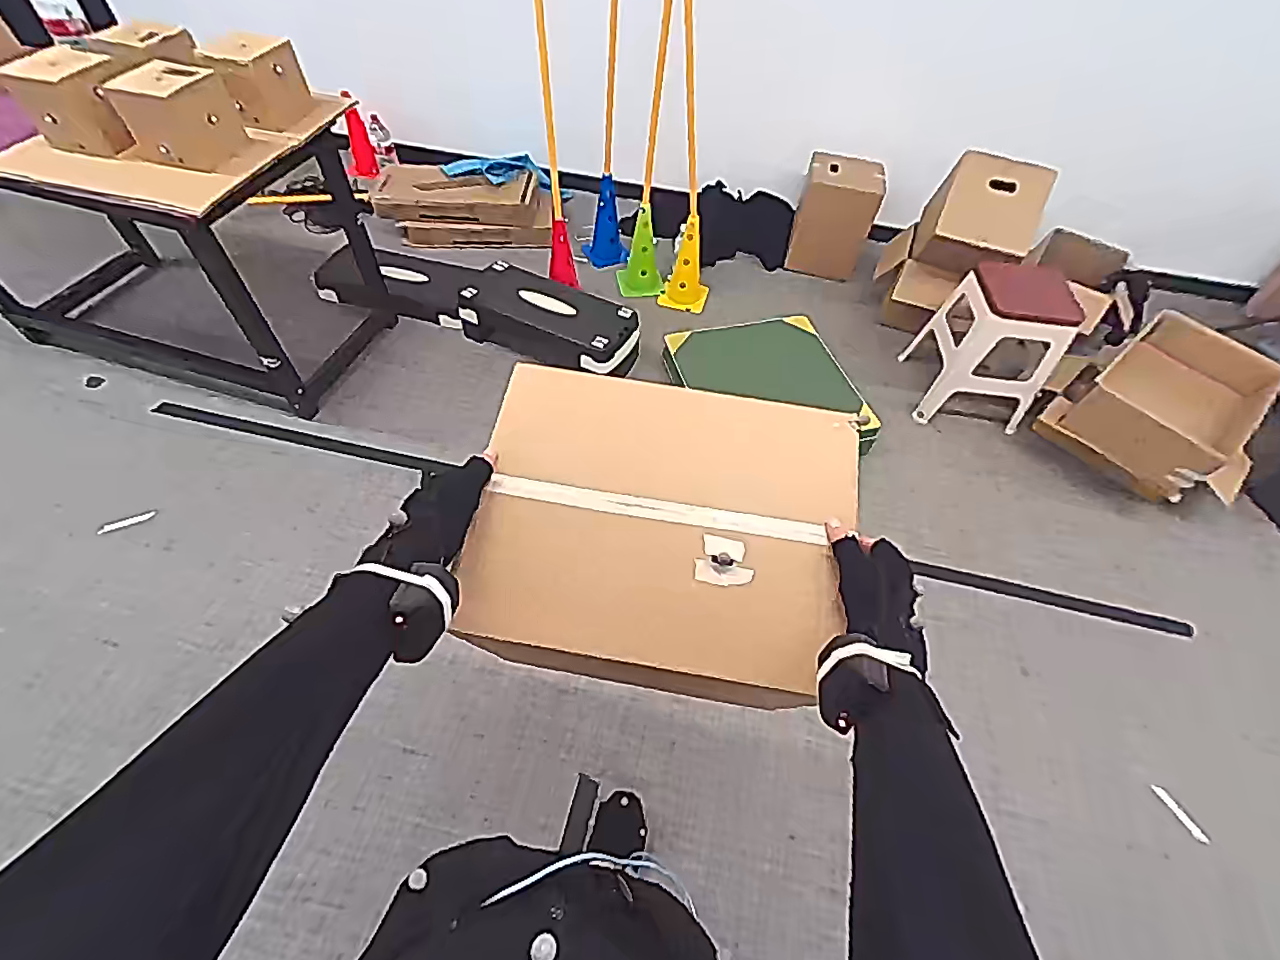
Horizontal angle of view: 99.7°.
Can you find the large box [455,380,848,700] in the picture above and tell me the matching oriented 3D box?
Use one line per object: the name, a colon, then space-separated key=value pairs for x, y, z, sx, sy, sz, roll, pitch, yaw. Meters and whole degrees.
large box: x=0.022 y=0.101 z=0.730 sx=0.408 sy=0.320 sz=0.320 roll=9 pitch=67 yaw=2
